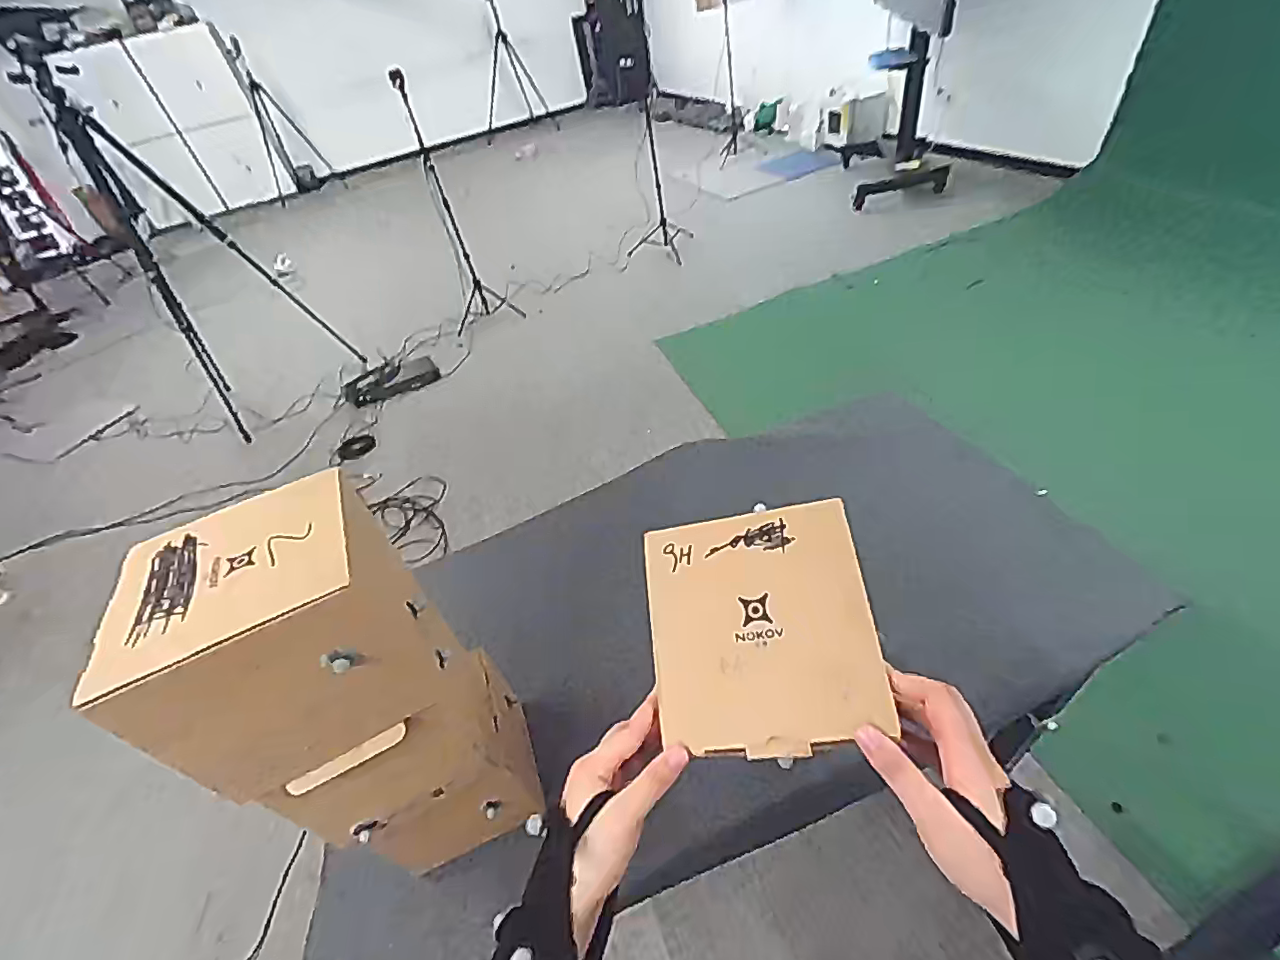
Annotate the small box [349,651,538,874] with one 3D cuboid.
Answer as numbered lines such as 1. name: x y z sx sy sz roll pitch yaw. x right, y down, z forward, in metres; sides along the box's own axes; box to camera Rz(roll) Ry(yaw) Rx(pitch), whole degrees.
1. small box: -0.244 0.361 0.695 0.179 0.176 0.168 -24 42 -9

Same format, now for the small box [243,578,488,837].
1. small box: -0.282 0.247 0.582 0.168 0.176 0.179 -25 41 -13
